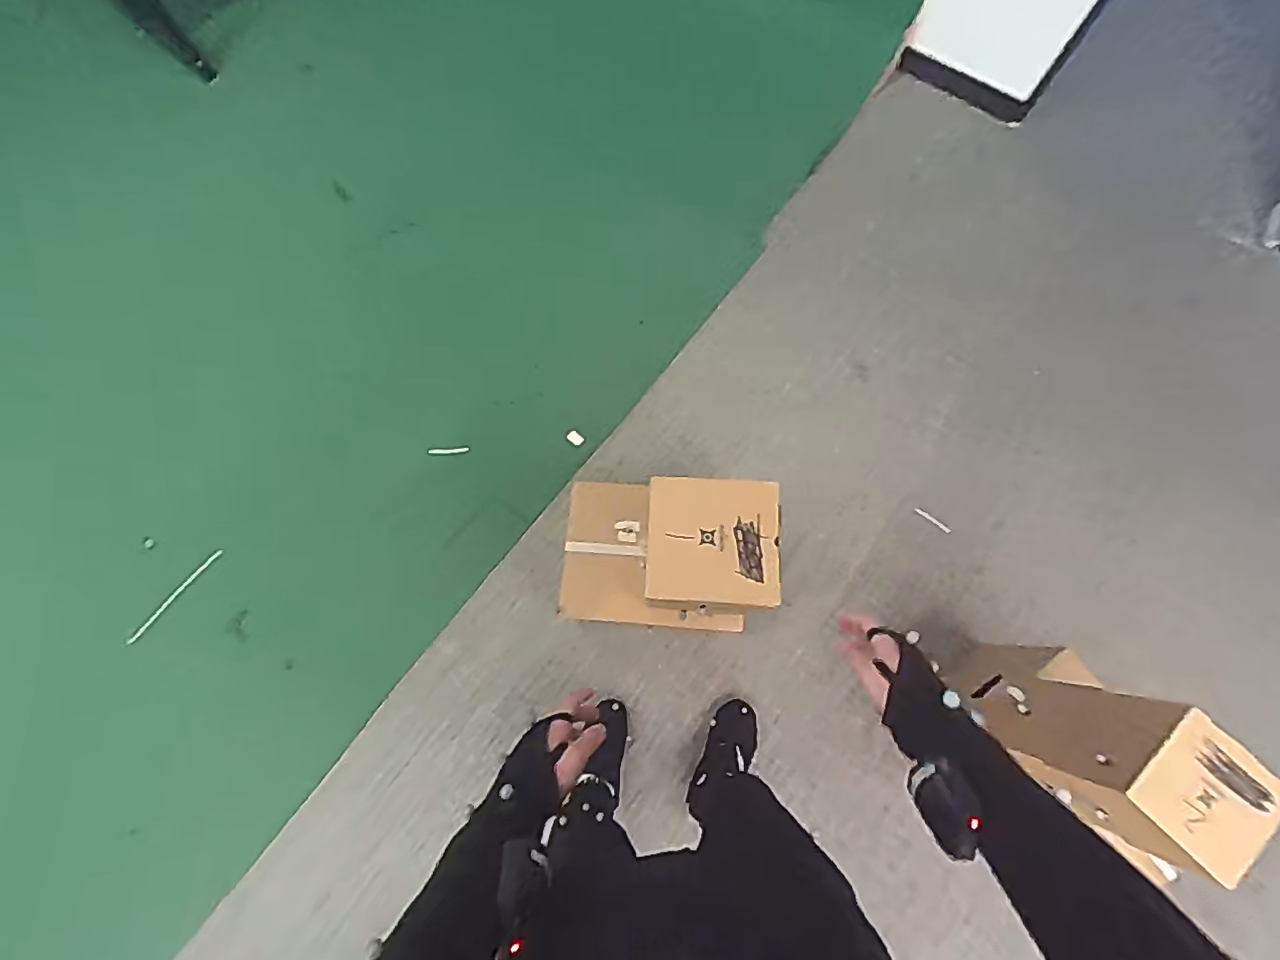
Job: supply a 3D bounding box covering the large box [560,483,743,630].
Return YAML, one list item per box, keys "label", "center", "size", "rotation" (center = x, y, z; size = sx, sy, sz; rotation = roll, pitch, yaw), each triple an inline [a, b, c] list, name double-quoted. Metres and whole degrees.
- label: "large box"
  center: [0.038, 0.204, 1.348]
  size: [0.408, 0.320, 0.320]
  rotation: [4, 73, 3]

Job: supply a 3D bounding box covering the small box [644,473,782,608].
- label: "small box"
  center: [0.100, 0.095, 0.783]
  size: [0.179, 0.176, 0.168]
  rotation: [3, 74, 4]

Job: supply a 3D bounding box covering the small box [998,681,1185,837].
- label: "small box"
  center: [0.807, 0.497, 0.994]
  size: [0.179, 0.176, 0.168]
  rotation: [-42, 78, -9]
